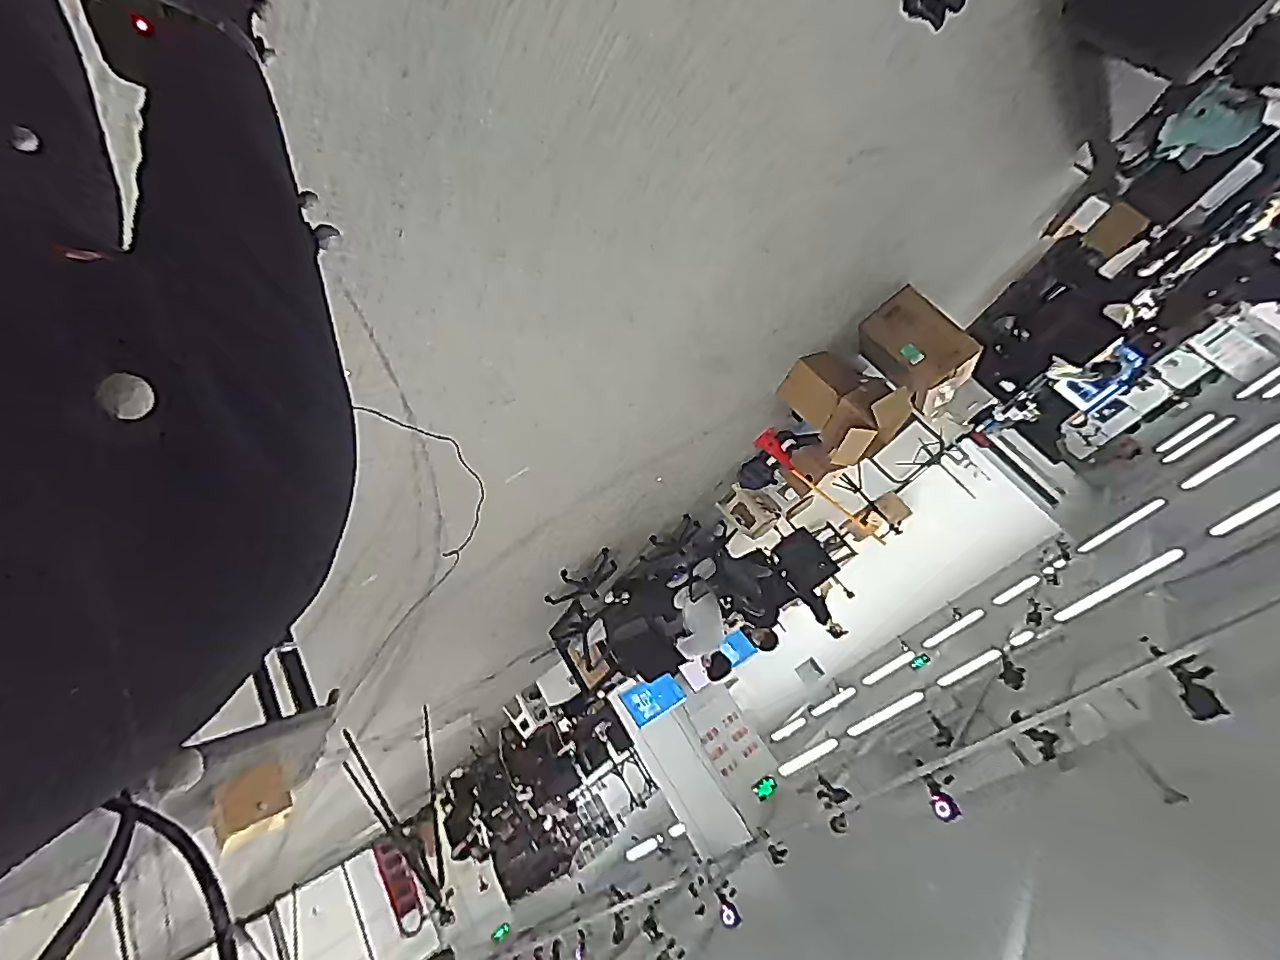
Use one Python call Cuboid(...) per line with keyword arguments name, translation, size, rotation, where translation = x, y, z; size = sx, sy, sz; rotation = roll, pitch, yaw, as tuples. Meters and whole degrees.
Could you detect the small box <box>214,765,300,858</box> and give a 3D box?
Cuboid(name="small box", translation=(-1.217, 1.044, 1.716), size=(0.179, 0.176, 0.168), rotation=(-6, 141, -49))
